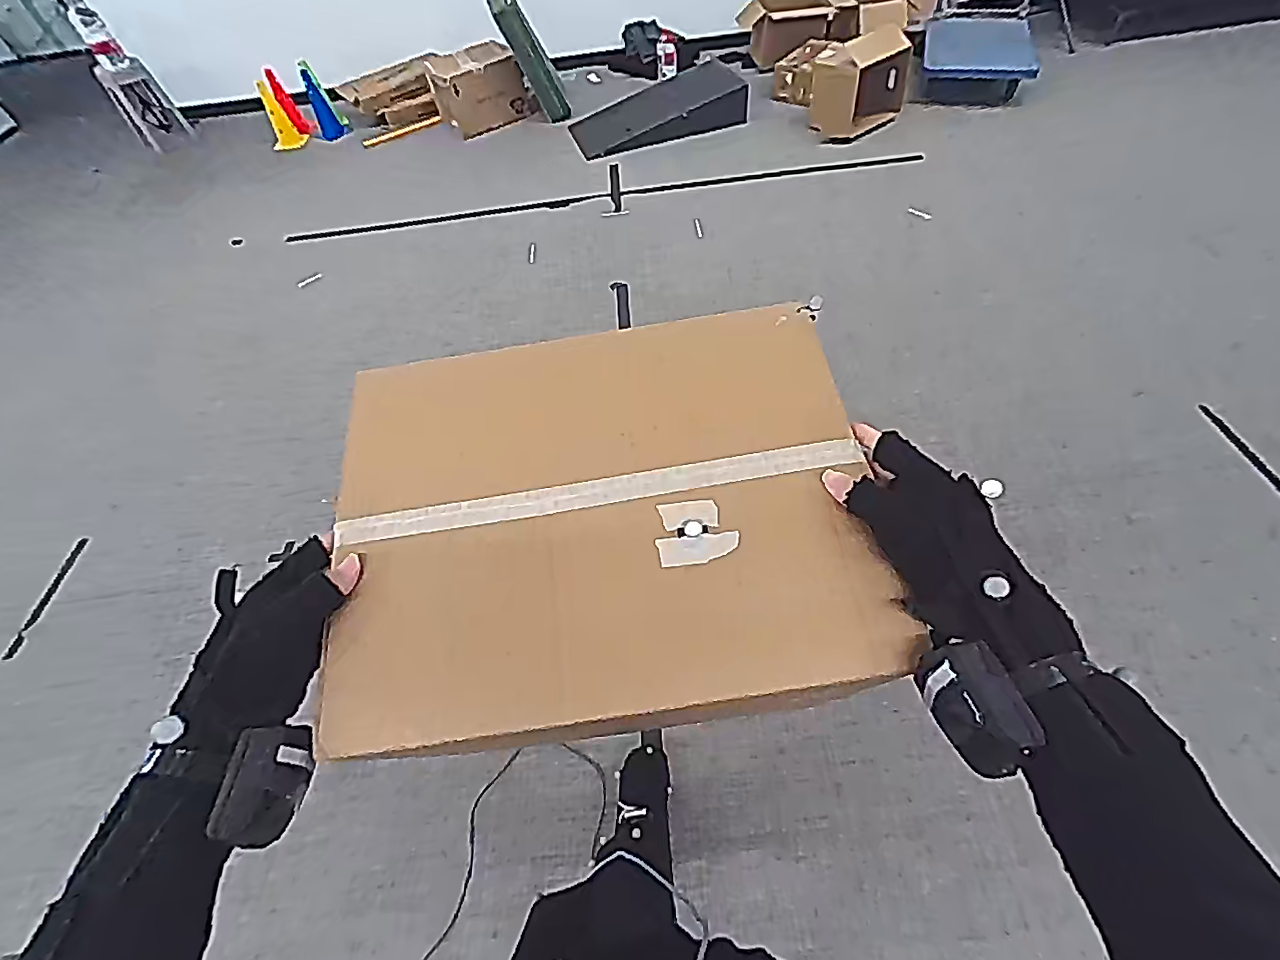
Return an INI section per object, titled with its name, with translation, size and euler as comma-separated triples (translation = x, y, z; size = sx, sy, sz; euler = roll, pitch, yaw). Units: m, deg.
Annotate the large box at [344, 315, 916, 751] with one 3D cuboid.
[large box]
translation = -0.018, 0.080, 0.563
size = 0.408, 0.320, 0.320
euler = -9, 64, 1
